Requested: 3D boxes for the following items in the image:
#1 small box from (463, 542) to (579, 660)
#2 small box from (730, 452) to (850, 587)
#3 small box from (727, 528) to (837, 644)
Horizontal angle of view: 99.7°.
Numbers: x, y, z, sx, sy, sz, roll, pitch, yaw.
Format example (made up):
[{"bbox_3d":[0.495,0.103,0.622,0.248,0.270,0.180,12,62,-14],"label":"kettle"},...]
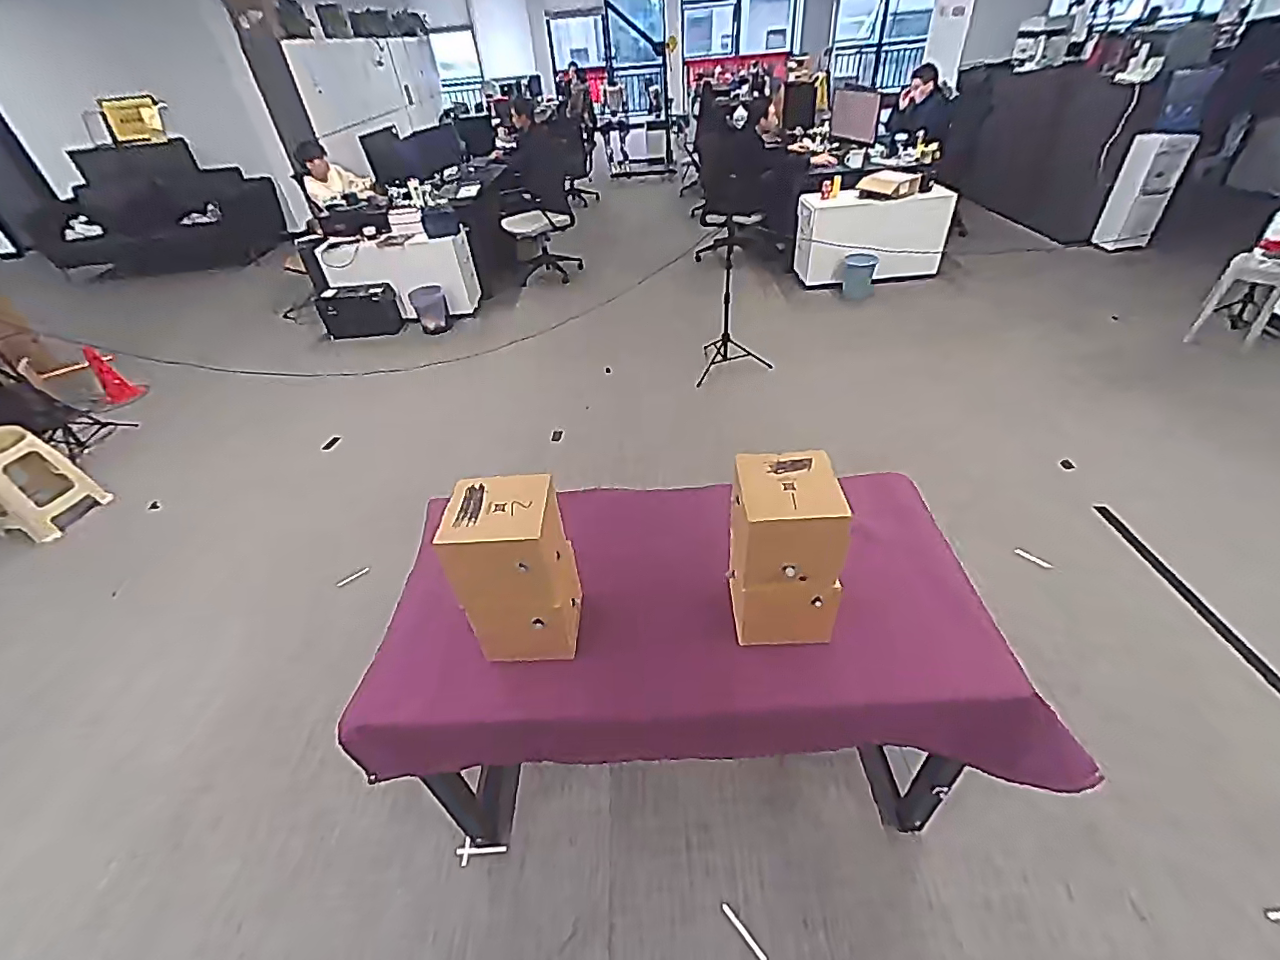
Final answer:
[{"bbox_3d":[-0.221,0.239,1.065,0.179,0.176,0.168,-3,39,3],"label":"small box"},{"bbox_3d":[0.252,0.070,0.960,0.168,0.176,0.179,-3,40,3],"label":"small box"},{"bbox_3d":[0.266,0.204,1.054,0.179,0.176,0.168,-3,39,3],"label":"small box"}]
